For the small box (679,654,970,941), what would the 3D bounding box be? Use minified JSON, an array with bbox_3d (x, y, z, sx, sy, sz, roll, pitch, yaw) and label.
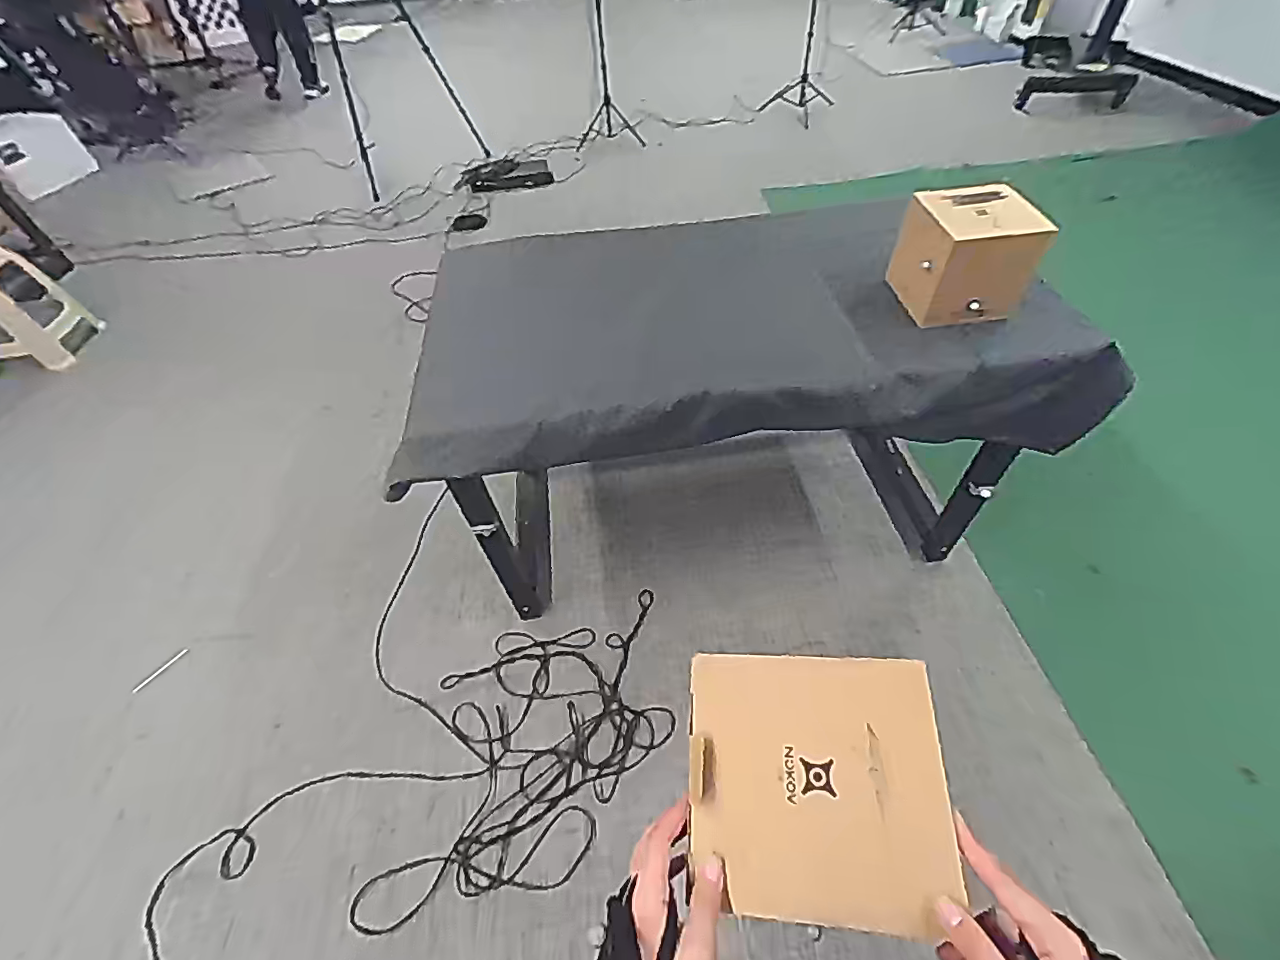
[{"bbox_3d":[0.129,0.244,0.440,0.179,0.176,0.168,-3,60,10],"label":"small box"}]
